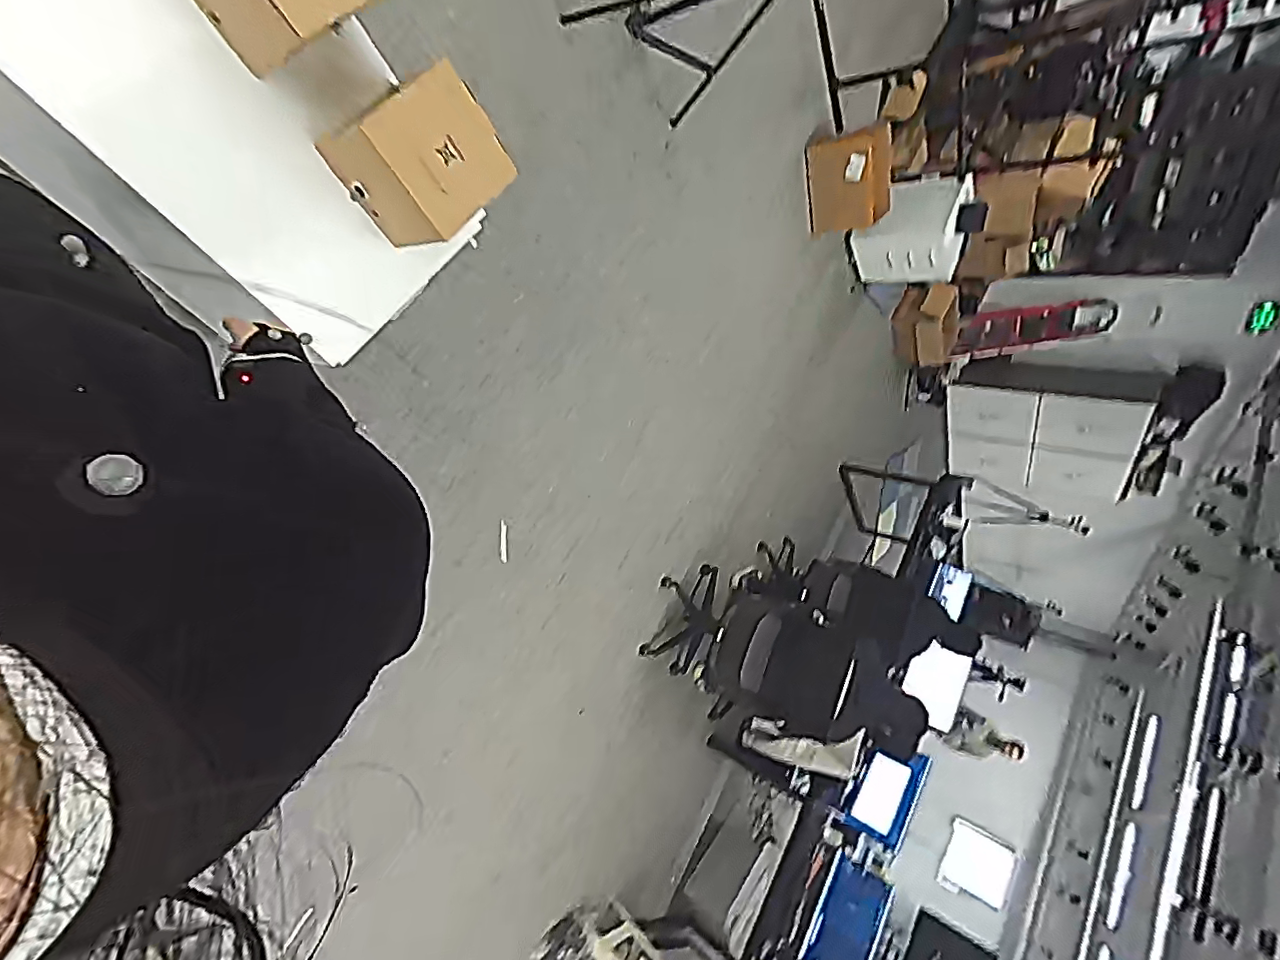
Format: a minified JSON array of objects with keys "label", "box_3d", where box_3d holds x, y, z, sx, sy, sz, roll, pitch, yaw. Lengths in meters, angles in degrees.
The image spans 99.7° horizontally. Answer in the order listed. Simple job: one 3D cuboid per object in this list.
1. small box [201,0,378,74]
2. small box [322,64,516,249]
[{"label":"small box","box_3d":[-0.427,-0.618,0.631,0.179,0.176,0.168,-56,139,-22]},{"label":"small box","box_3d":[-0.328,-0.470,0.806,0.179,0.176,0.168,-56,137,-19]}]
